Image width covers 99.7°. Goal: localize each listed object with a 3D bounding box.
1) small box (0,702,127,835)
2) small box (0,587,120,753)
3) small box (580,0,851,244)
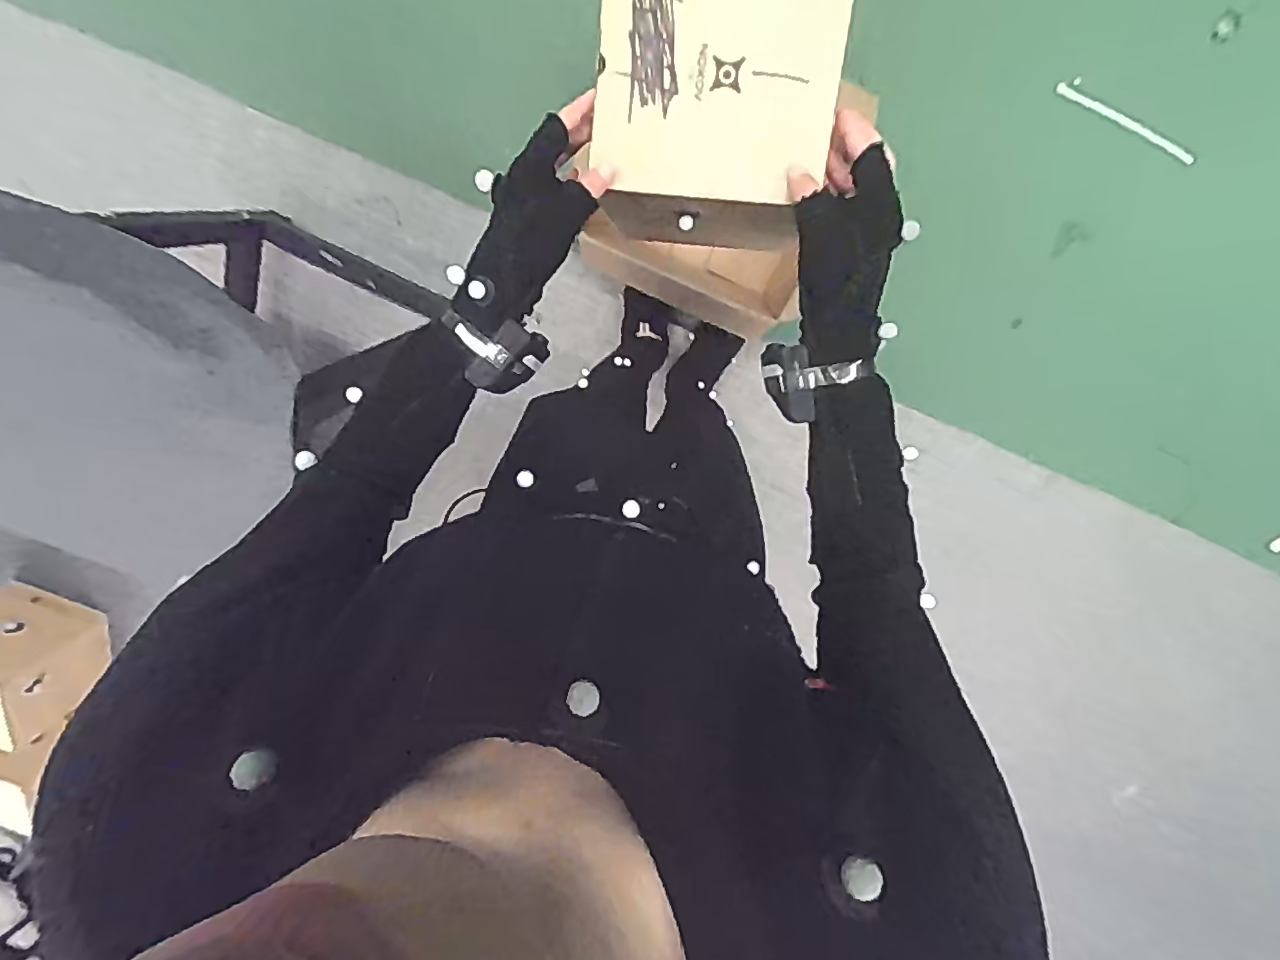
[{"bbox_3d":[-1.157,0.538,1.050,0.168,0.176,0.179,22,118,-4],"label":"small box"},{"bbox_3d":[-1.040,0.313,0.915,0.168,0.176,0.179,23,118,-4],"label":"small box"},{"bbox_3d":[0.060,-0.303,0.448,0.179,0.176,0.168,7,103,6],"label":"small box"}]
